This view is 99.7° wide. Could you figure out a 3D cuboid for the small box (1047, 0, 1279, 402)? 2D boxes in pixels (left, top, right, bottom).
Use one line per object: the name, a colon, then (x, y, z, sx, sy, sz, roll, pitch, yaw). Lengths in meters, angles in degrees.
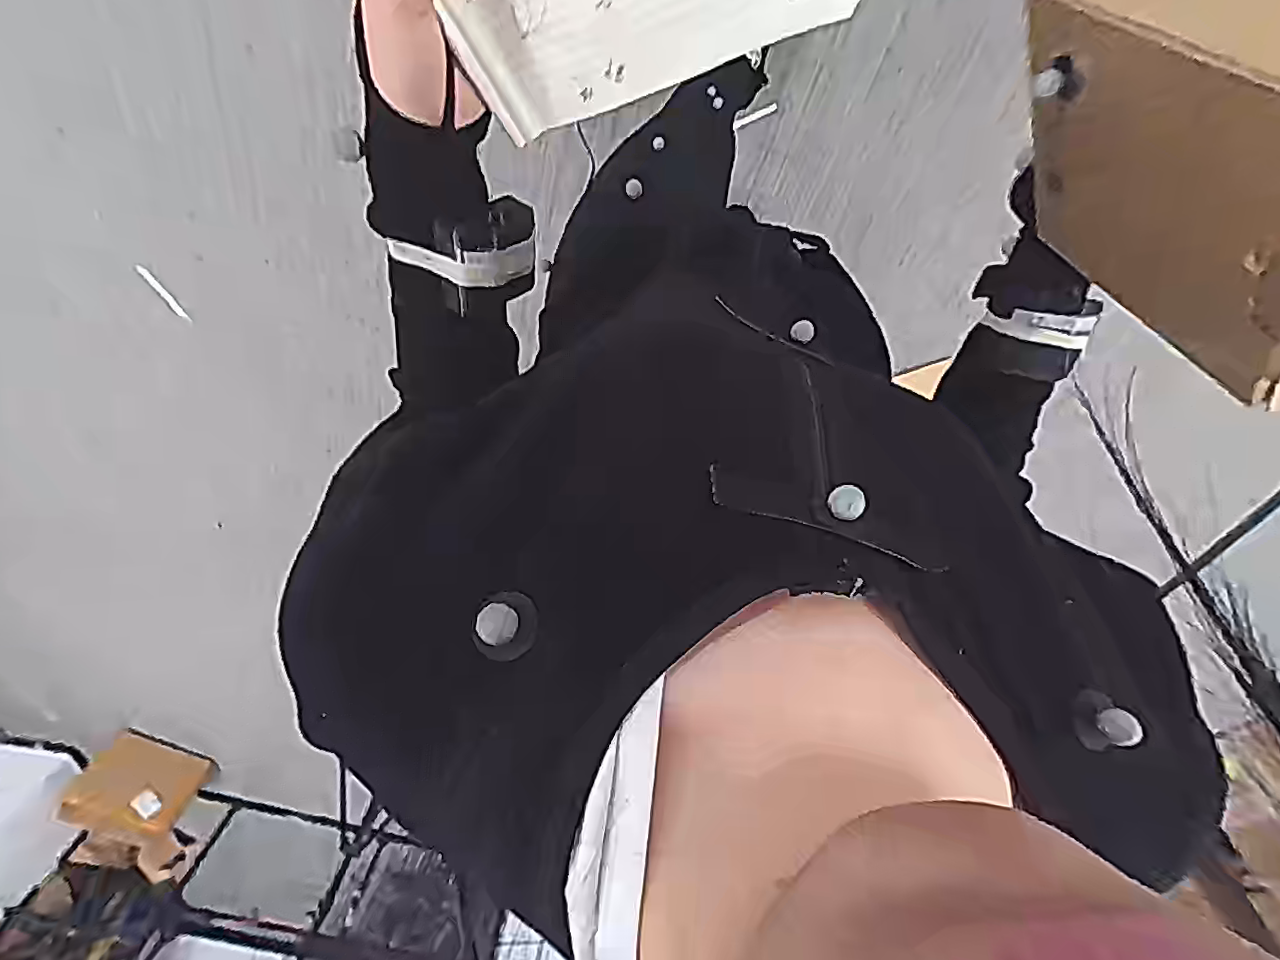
small box: (0.303, -0.172, 0.220, 0.179, 0.176, 0.168, -34, 141, 22)
